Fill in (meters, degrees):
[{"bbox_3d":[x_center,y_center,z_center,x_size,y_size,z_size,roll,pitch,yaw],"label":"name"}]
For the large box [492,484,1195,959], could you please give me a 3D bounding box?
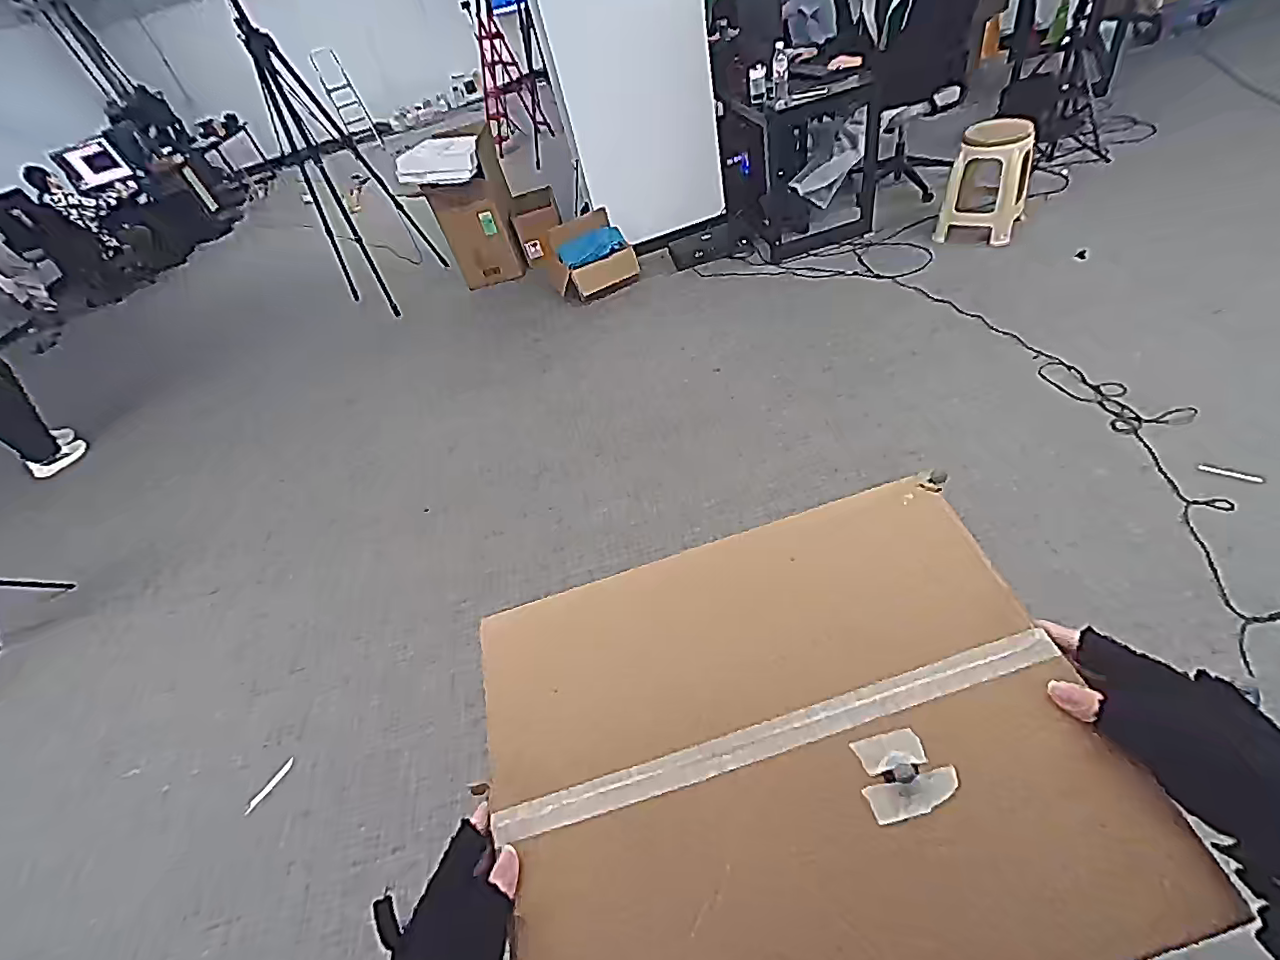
[{"bbox_3d":[0.120,0.266,0.514,0.408,0.320,0.320,-18,55,-1],"label":"large box"}]
